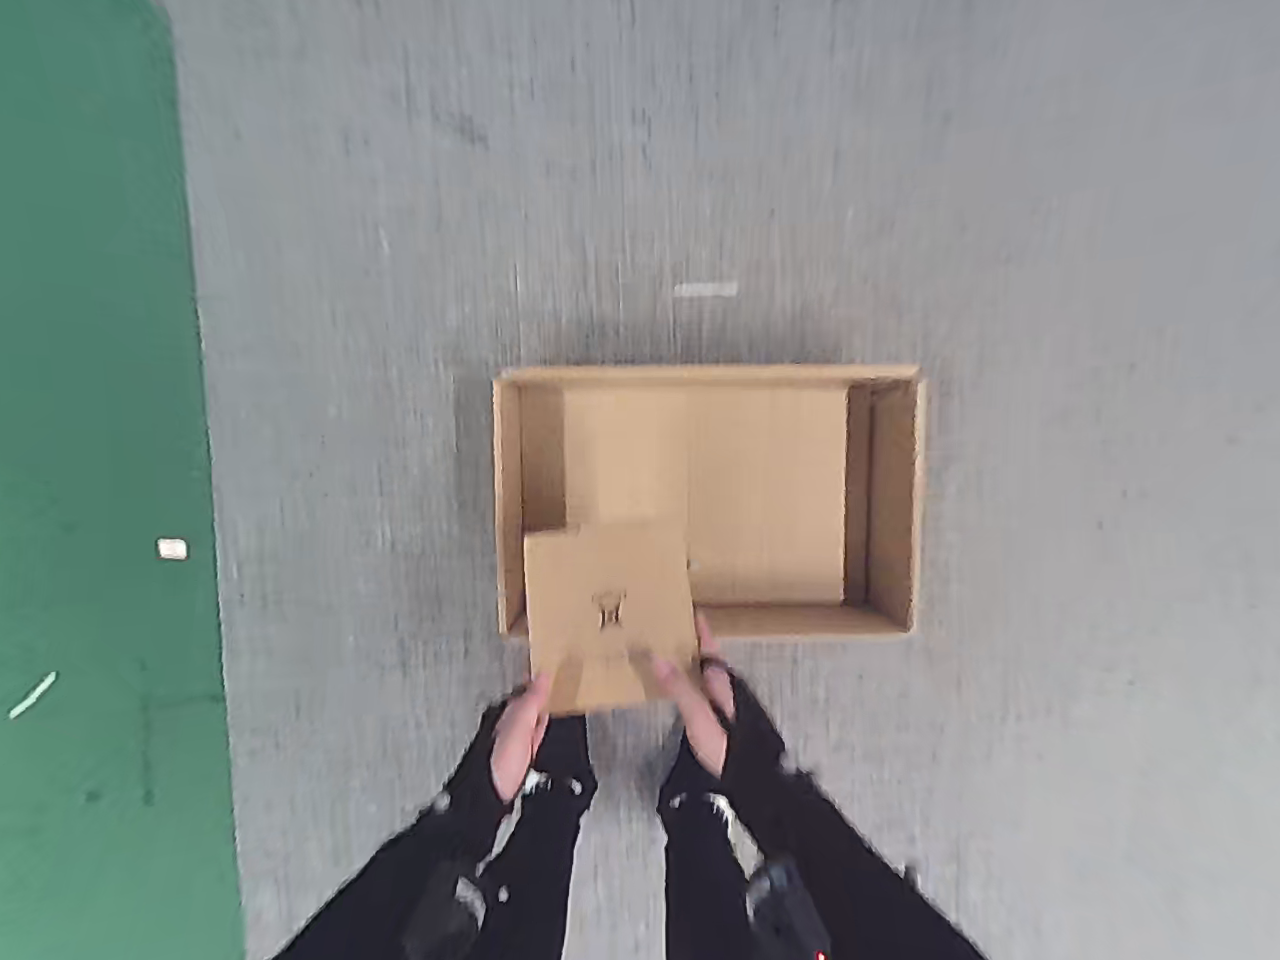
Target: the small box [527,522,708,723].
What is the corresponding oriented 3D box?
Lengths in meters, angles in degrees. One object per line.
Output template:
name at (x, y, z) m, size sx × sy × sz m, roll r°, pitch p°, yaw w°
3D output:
small box at (-0.022, 0.155, 0.597) m, size 0.168 × 0.176 × 0.179 m, roll -7°, pitch 75°, yaw 2°
